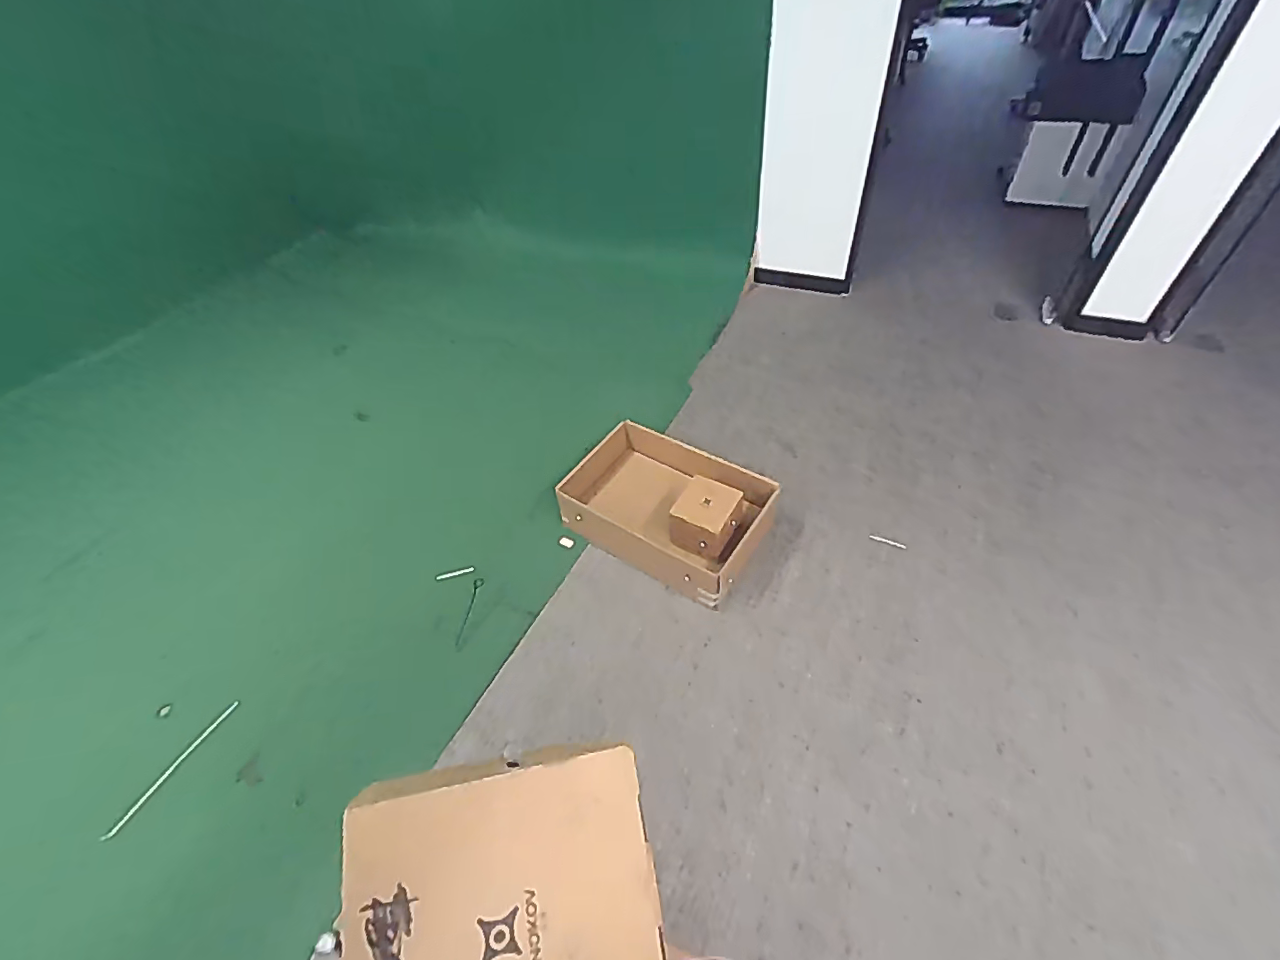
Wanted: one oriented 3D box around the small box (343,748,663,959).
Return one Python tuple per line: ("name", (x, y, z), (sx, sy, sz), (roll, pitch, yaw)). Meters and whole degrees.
("small box", (-0.101, 0.289, 0.373), (0.179, 0.176, 0.168), (0, 66, -24))
